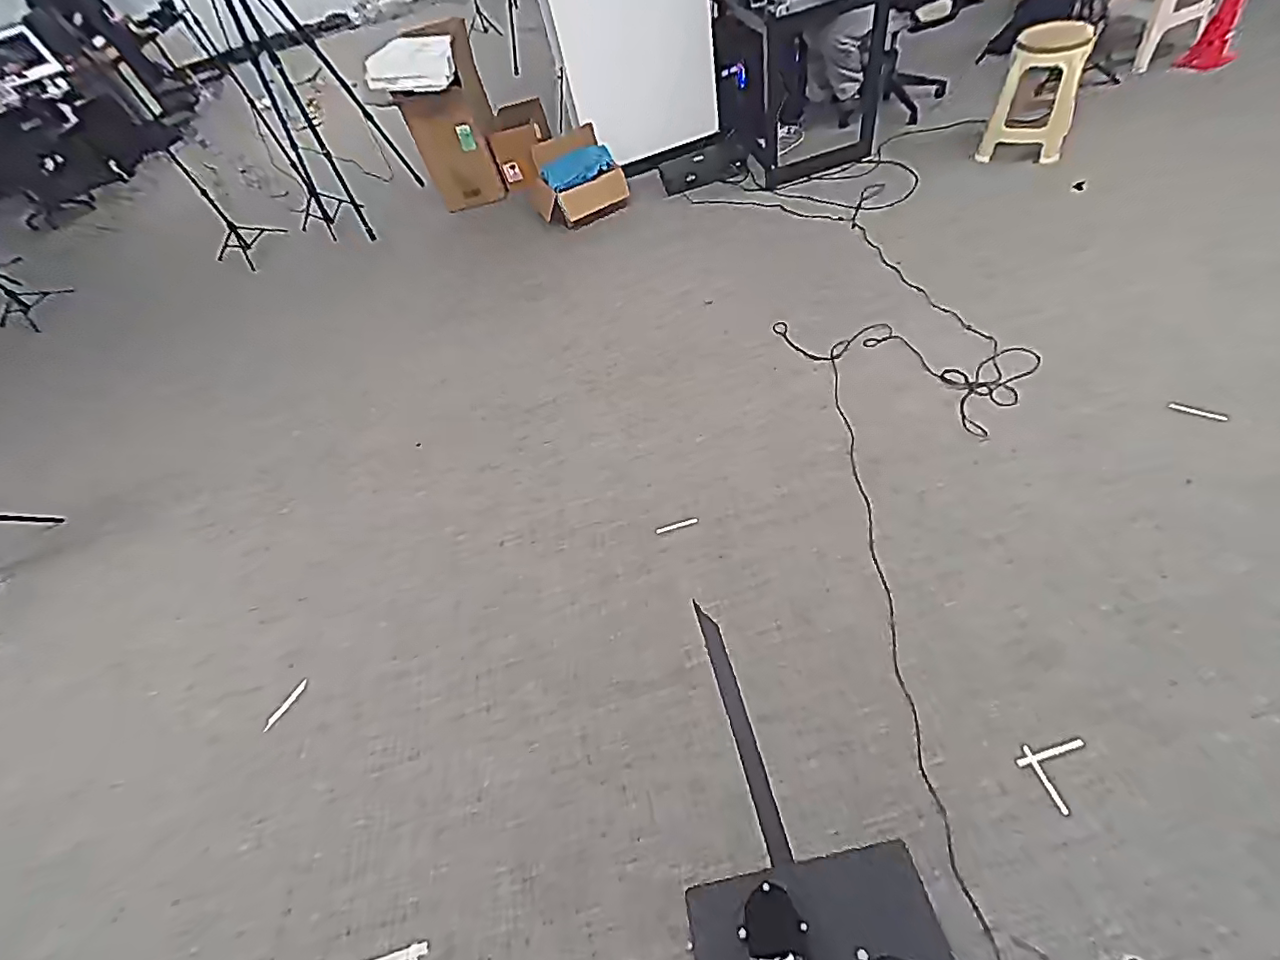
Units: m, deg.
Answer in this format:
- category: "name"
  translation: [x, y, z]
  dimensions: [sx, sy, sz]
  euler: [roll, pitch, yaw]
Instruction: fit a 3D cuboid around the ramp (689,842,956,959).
- category: "ramp"
  translation: [0.406, 1.166, 0.805]
  dimensions: [0.509, 0.206, 0.991]
  euler: [-18, 51, 2]
